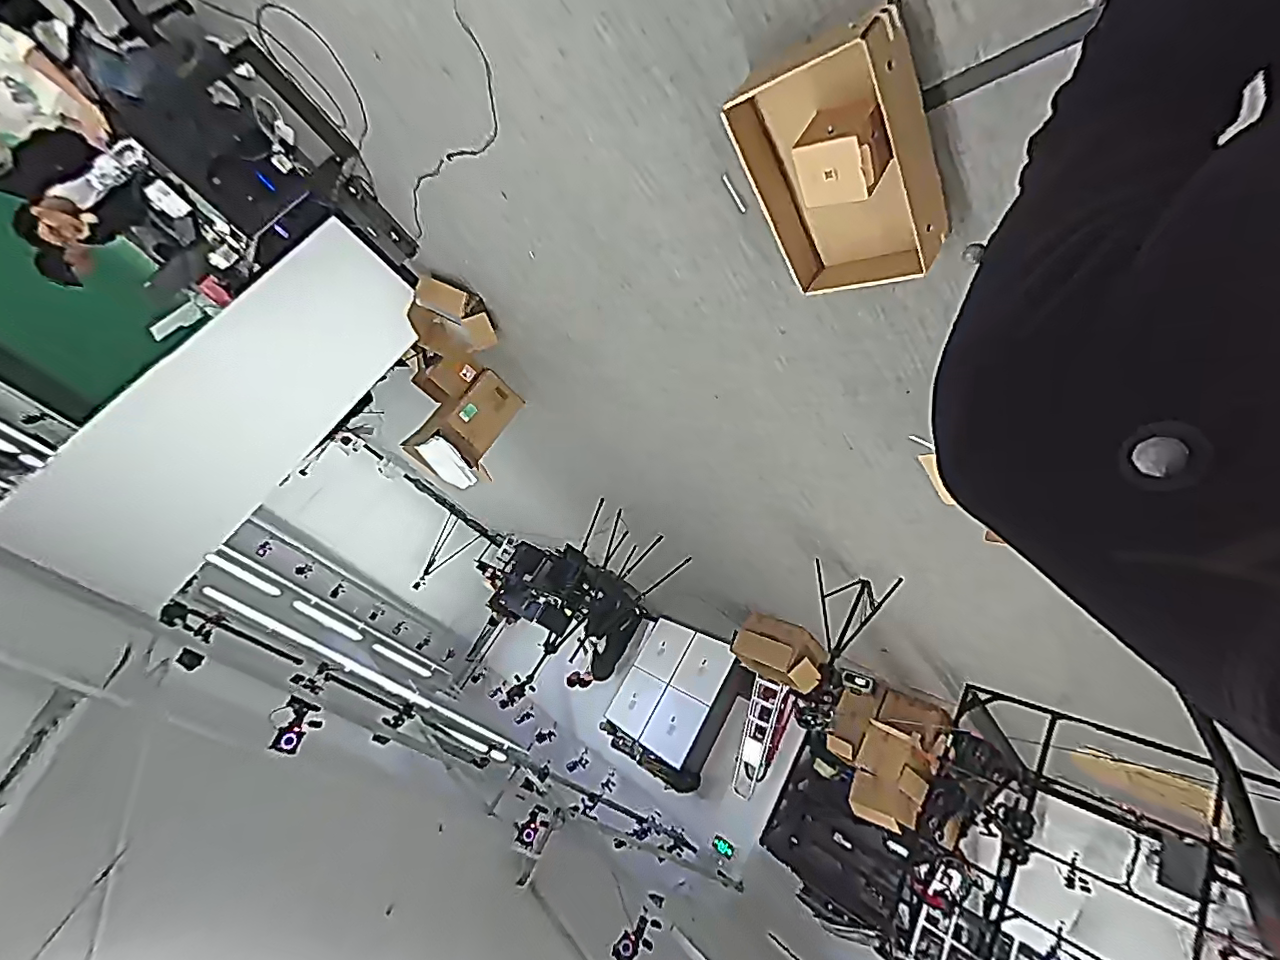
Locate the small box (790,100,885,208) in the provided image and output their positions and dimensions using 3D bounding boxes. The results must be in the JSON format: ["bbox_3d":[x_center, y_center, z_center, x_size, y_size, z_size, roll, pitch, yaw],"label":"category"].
[{"bbox_3d":[0.518,-0.841,1.400,0.179,0.176,0.168,15,153,40],"label":"small box"}]
